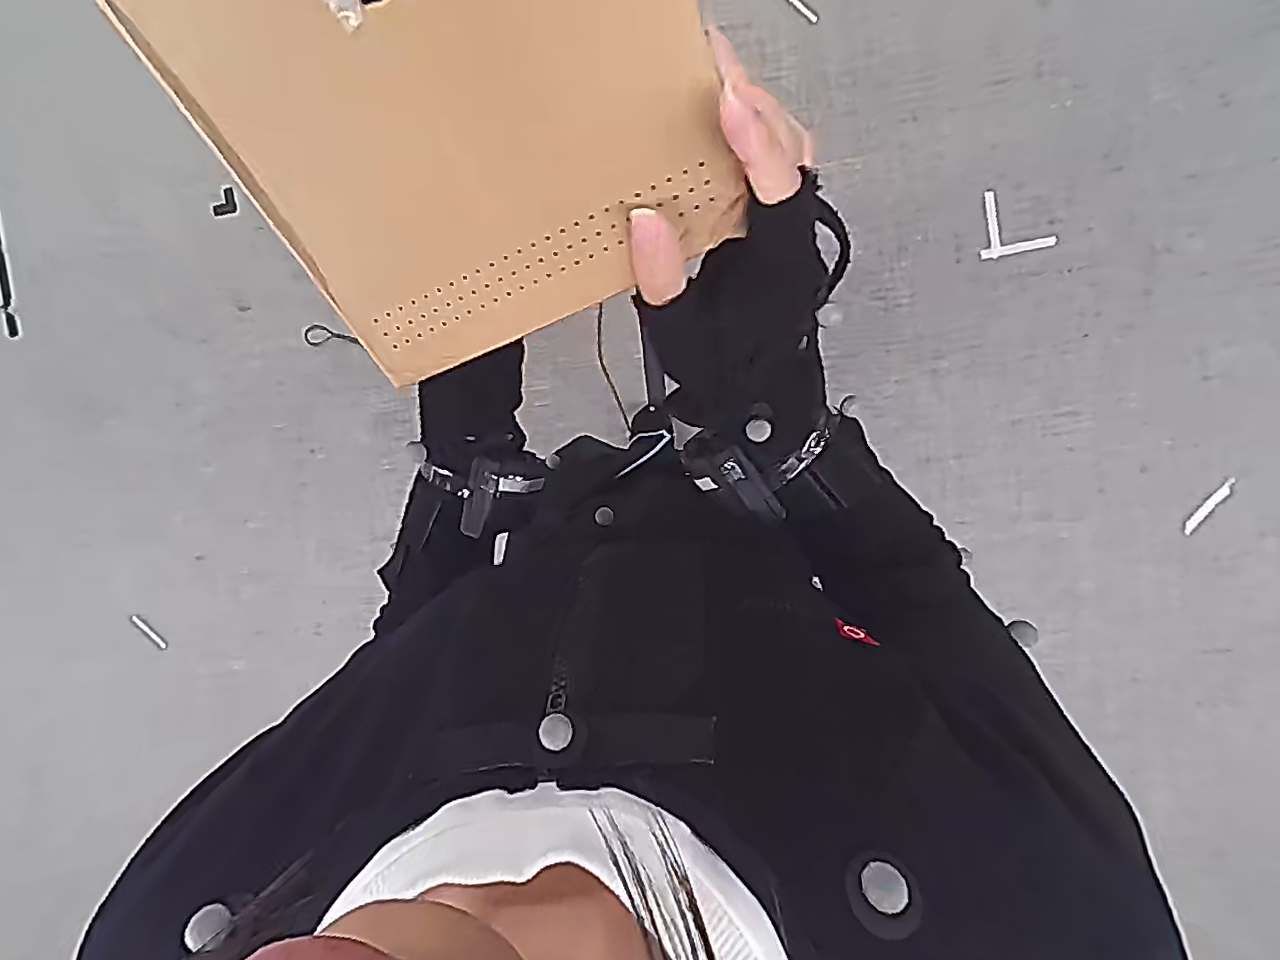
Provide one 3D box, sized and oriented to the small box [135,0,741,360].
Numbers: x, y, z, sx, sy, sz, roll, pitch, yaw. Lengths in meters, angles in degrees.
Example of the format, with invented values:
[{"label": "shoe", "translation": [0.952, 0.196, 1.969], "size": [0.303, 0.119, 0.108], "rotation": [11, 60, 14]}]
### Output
[{"label": "small box", "translation": [-0.065, -0.185, 0.269], "size": [0.179, 0.168, 0.176], "rotation": [-18, 125, 15]}]
